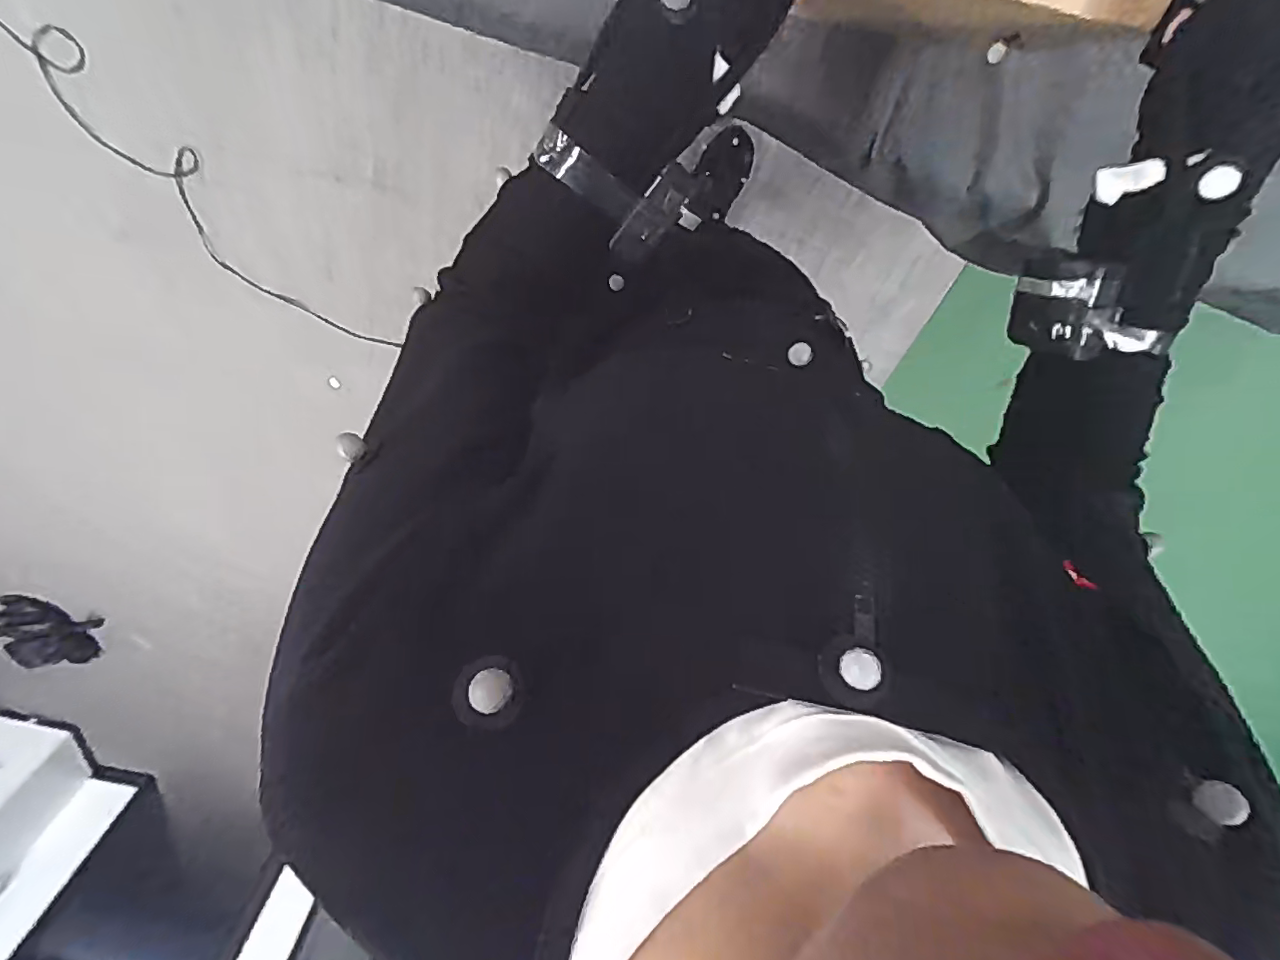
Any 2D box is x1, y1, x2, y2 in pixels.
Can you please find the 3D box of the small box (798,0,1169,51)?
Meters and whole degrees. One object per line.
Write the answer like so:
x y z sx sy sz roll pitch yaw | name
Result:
0.216 -0.374 0.319 0.179 0.176 0.168 7 123 -4 | small box
